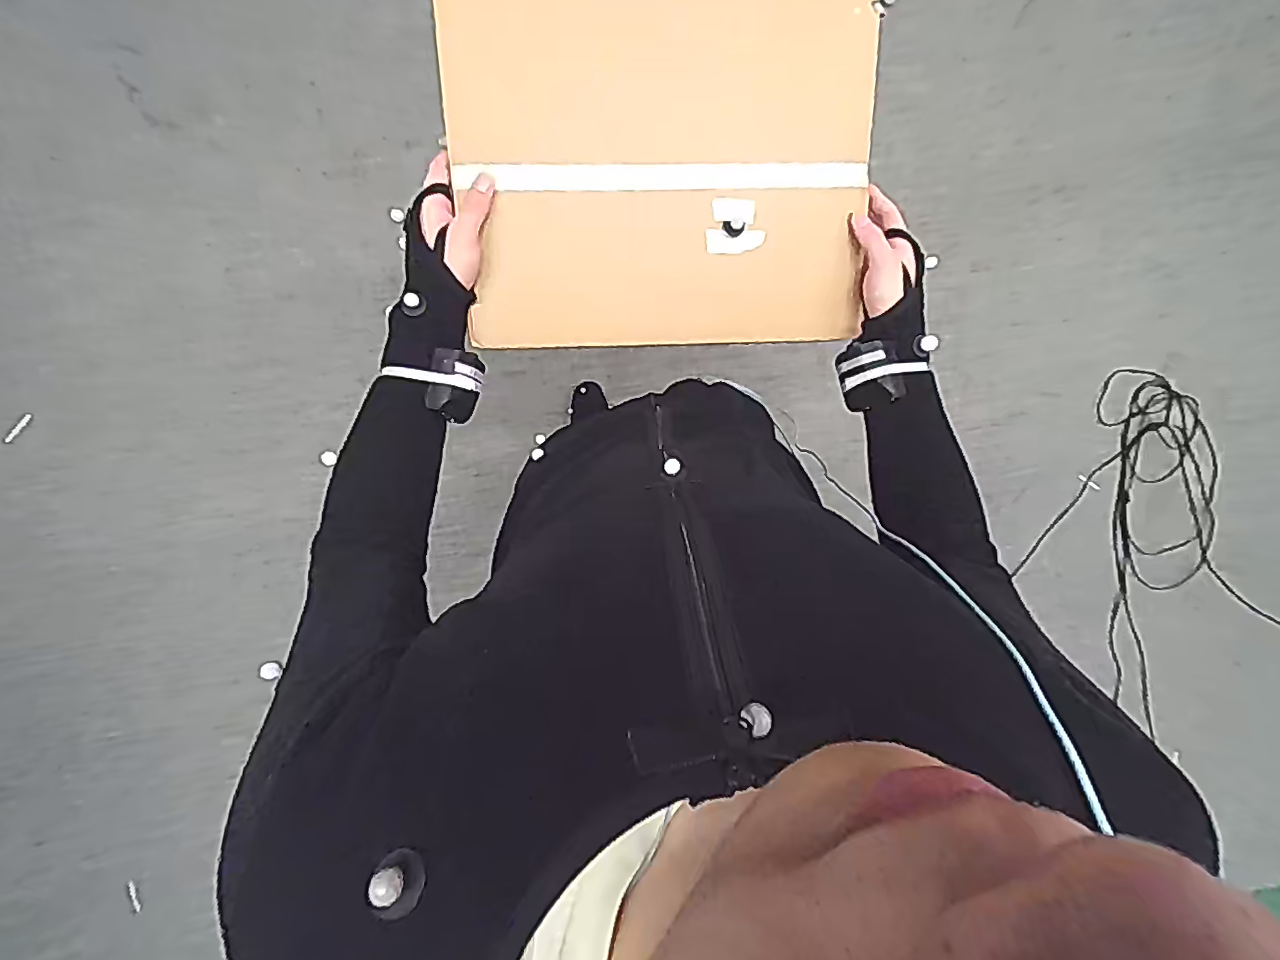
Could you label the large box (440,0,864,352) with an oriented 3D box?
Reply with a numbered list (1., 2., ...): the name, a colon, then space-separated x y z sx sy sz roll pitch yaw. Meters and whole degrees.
1. large box: 0.007 -0.333 0.680 0.408 0.320 0.320 -3 106 -5
